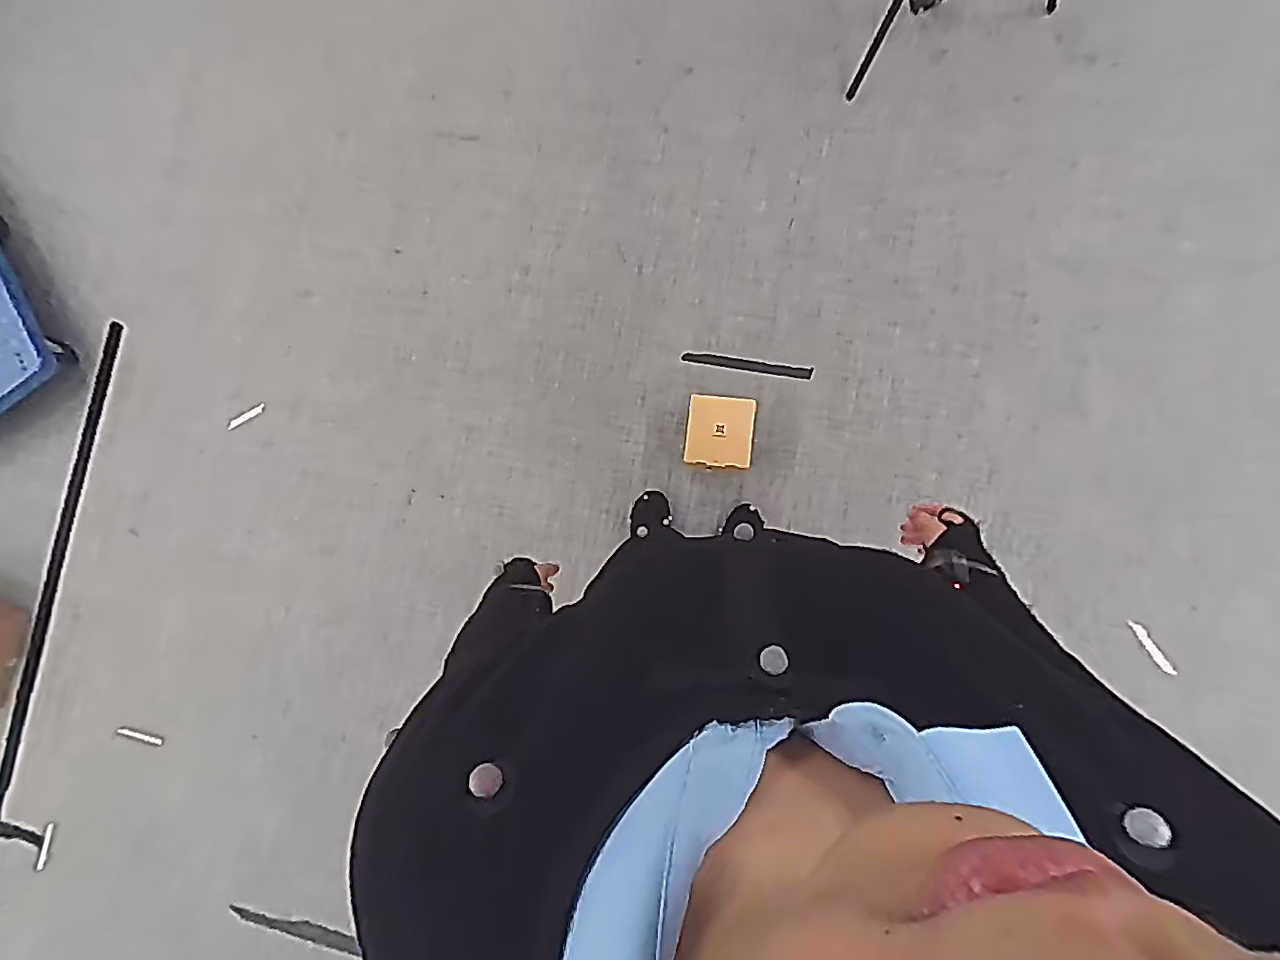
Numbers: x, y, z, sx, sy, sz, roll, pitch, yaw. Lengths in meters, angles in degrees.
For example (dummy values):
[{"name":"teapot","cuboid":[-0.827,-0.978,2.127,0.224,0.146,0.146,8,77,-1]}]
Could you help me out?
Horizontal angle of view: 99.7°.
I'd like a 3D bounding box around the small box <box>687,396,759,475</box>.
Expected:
[{"name":"small box","cuboid":[0.215,-0.113,1.432,0.168,0.176,0.179,6,87,7]}]
